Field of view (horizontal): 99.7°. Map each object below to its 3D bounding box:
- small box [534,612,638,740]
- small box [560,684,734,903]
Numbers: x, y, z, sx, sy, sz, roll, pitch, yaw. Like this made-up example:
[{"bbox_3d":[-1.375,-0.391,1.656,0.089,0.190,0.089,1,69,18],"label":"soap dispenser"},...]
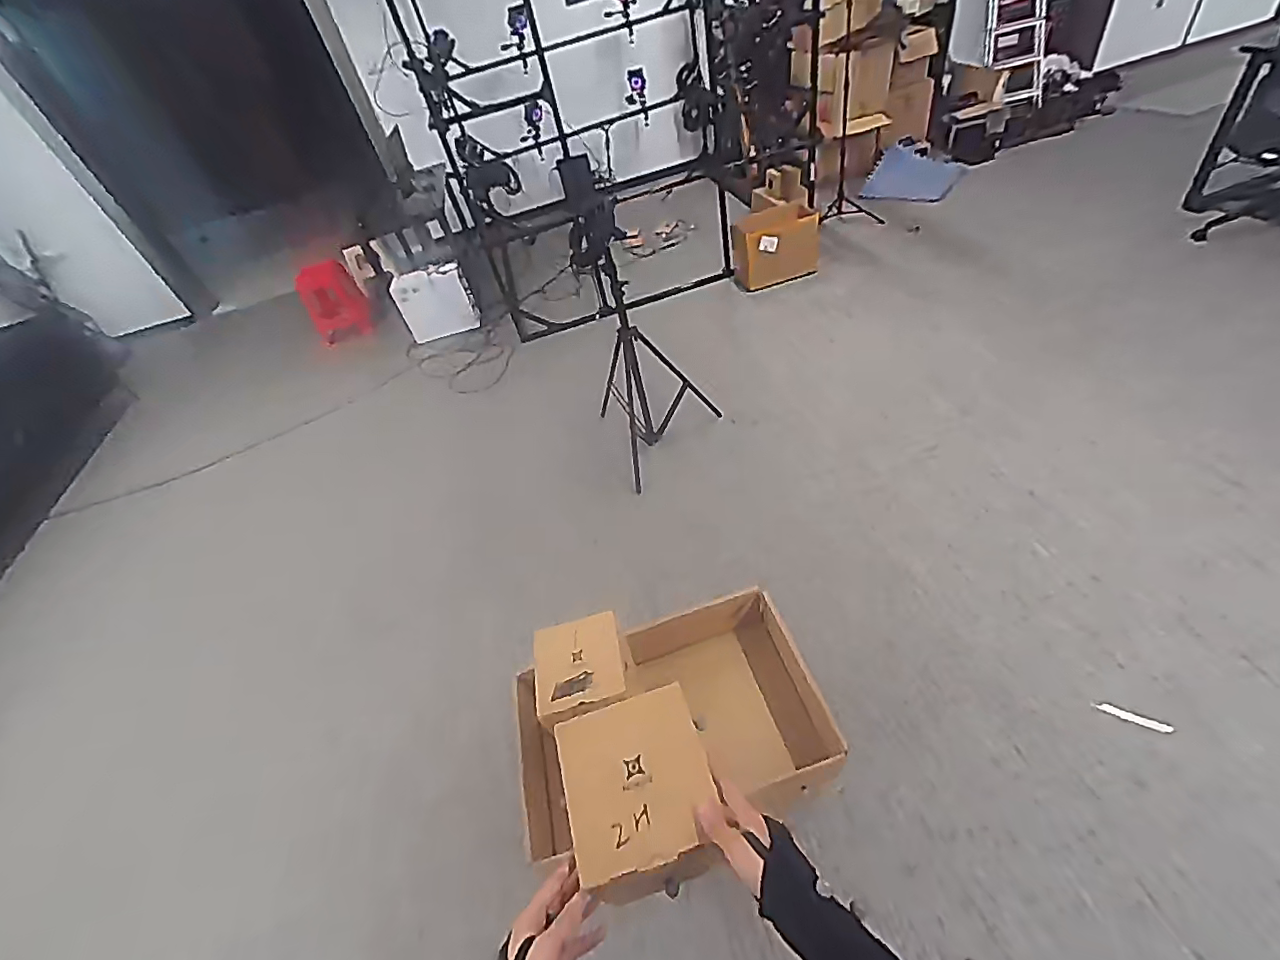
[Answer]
[{"bbox_3d":[-0.101,0.395,1.062,0.168,0.176,0.179,-15,43,0],"label":"small box"},{"bbox_3d":[0.010,0.392,0.676,0.168,0.176,0.179,-18,47,-4],"label":"small box"}]
